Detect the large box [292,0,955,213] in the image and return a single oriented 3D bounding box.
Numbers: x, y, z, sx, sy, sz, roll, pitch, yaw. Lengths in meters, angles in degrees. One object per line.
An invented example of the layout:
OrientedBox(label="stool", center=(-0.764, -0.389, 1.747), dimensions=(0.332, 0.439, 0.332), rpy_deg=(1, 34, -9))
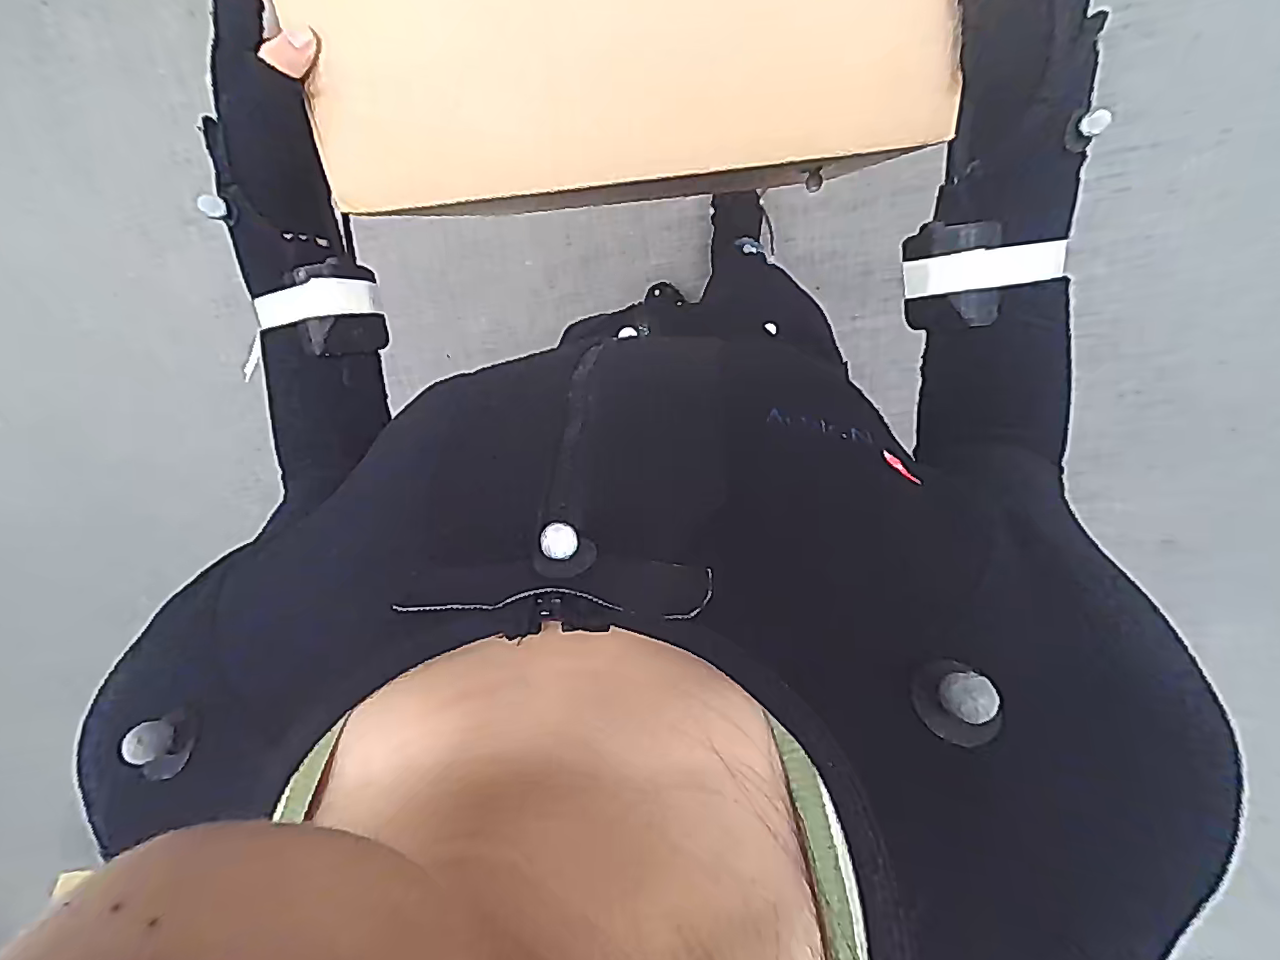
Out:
OrientedBox(label="large box", center=(-0.009, -0.406, 0.432), dimensions=(0.408, 0.320, 0.320), rpy_deg=(-3, 115, 7))
